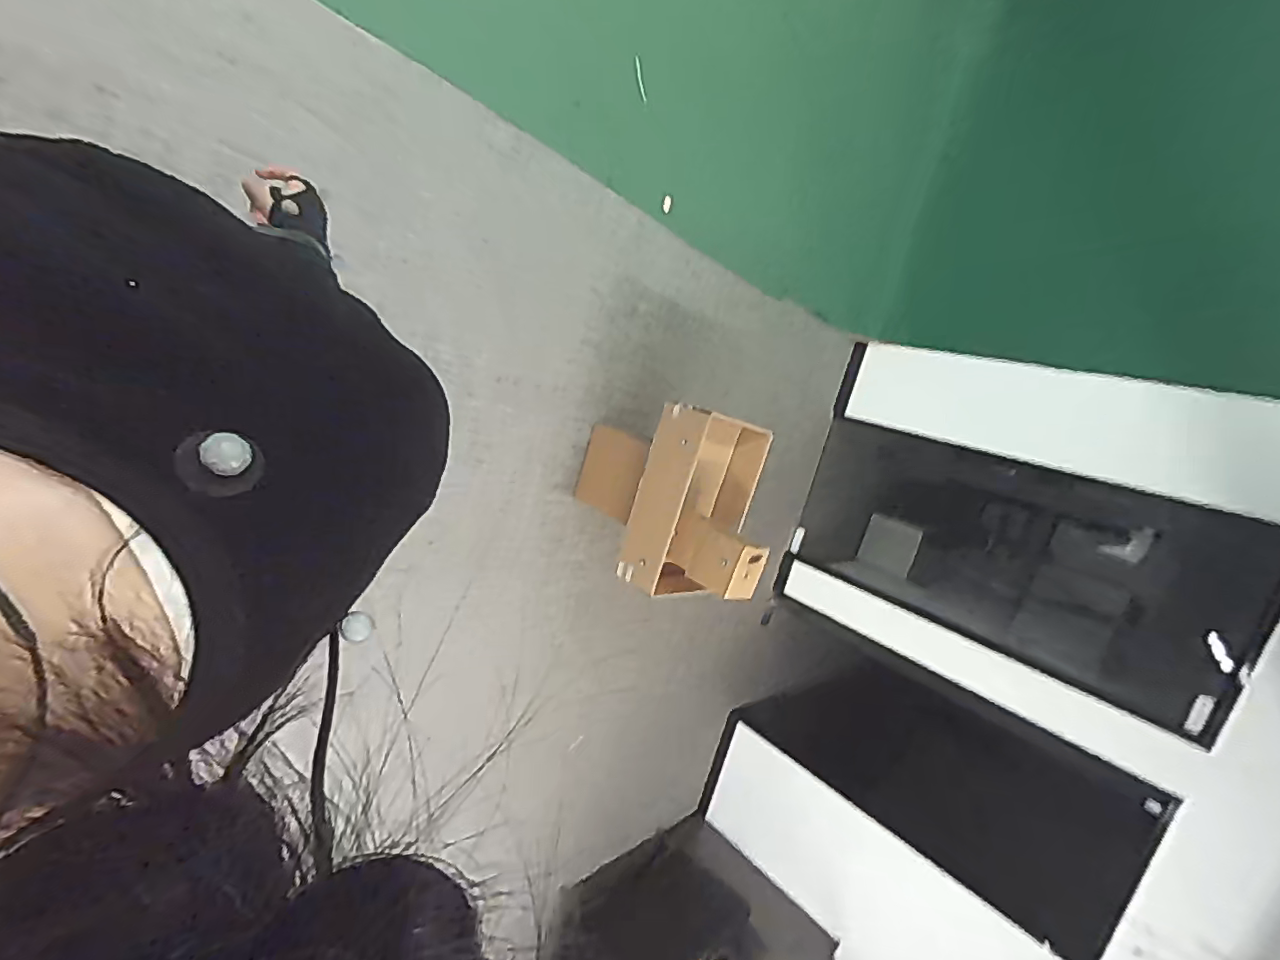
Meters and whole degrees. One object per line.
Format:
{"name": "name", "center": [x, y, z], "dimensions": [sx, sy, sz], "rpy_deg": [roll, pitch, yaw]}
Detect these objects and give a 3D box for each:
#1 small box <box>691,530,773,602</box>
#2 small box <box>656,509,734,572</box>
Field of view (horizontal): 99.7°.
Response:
{"name": "small box", "center": [0.287, 0.271, 1.713], "dimensions": [0.168, 0.176, 0.179], "rpy_deg": [14, 99, -47]}
{"name": "small box", "center": [0.182, 0.207, 1.822], "dimensions": [0.179, 0.176, 0.168], "rpy_deg": [16, 97, -48]}
